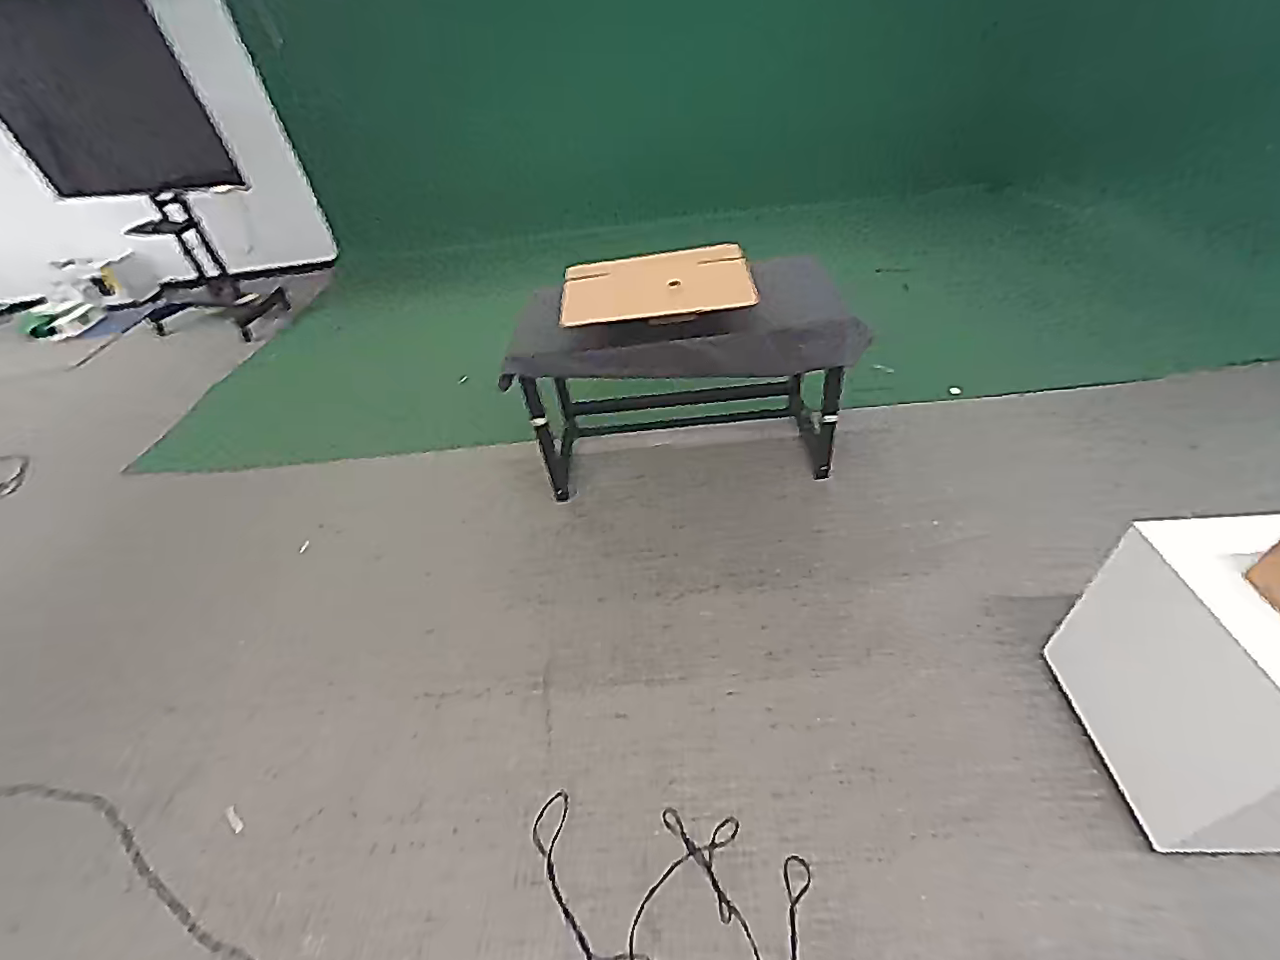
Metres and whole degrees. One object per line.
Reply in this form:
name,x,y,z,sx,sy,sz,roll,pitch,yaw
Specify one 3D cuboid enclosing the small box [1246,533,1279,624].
small box,1.290,0.196,0.988,0.179,0.176,0.168,-4,41,3
